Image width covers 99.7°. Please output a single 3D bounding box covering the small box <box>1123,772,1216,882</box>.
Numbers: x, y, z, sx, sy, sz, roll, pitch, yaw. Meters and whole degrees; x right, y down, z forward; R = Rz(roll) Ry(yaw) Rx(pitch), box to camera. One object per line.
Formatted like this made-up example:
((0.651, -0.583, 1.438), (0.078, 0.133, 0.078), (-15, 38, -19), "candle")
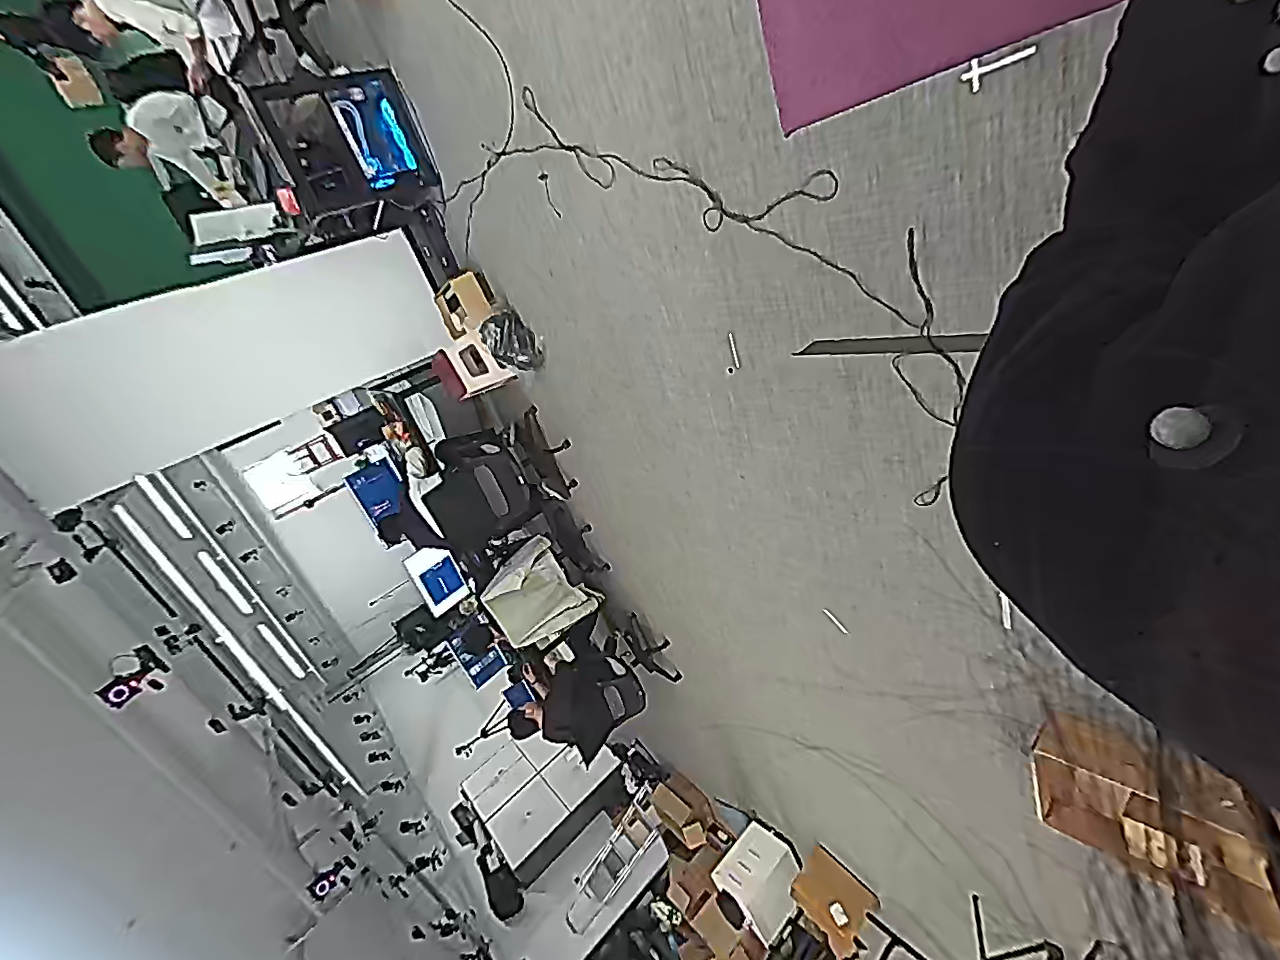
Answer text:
((1.563, 1.013, 1.593), (0.168, 0.176, 0.179), (1, 121, 55), "small box")
